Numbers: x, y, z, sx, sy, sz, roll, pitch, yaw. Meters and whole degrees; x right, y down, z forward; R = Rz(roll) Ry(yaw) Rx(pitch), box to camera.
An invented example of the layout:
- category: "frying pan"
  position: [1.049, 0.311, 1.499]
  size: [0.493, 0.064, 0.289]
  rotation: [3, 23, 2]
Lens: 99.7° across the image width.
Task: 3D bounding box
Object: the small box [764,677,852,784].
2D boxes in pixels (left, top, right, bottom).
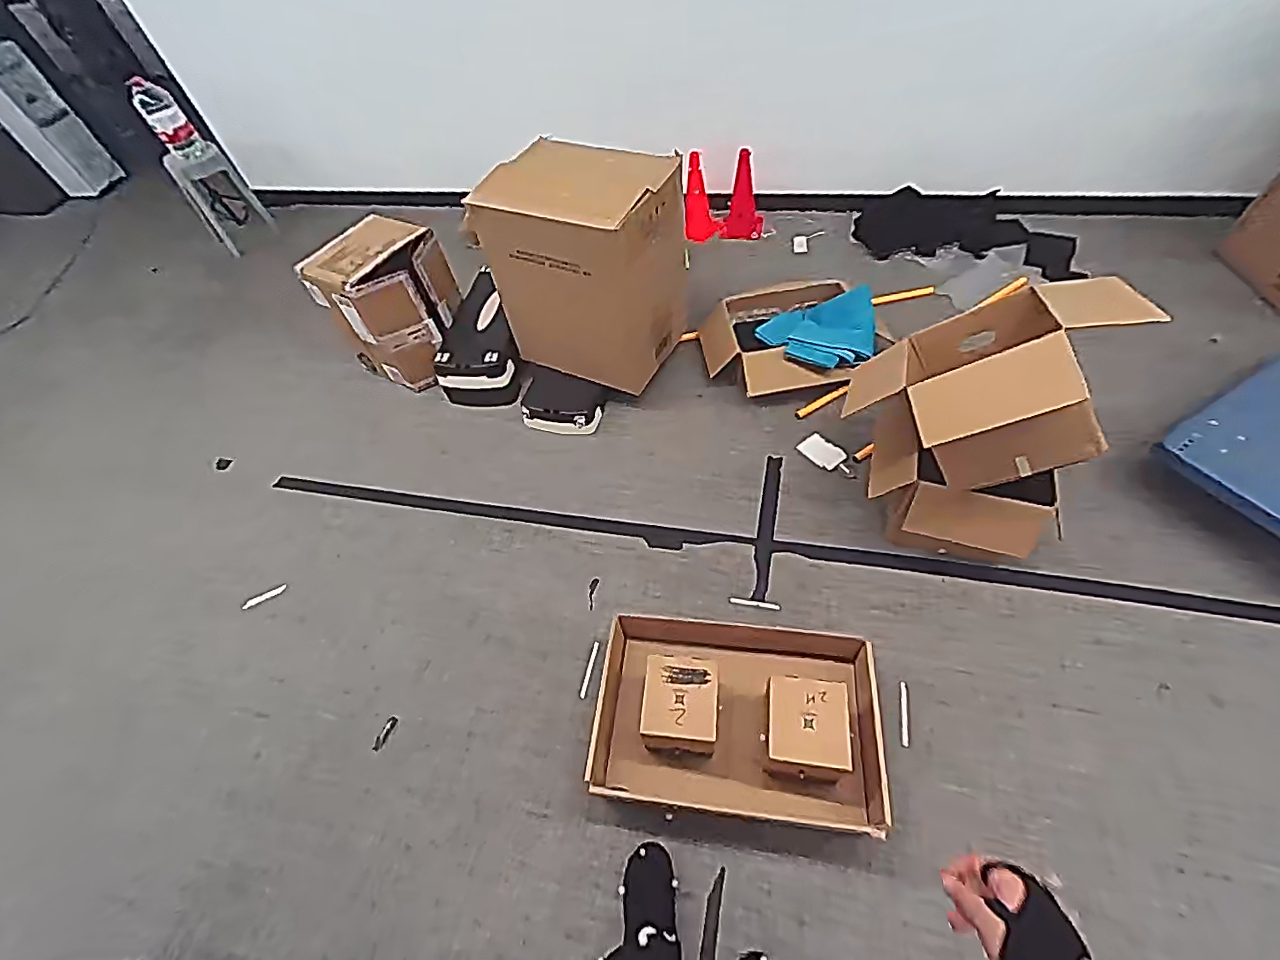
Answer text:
- category: "small box"
  position: [0.370, 0.563, 1.208]
  size: [0.168, 0.176, 0.179]
  rotation: [4, 54, 10]
